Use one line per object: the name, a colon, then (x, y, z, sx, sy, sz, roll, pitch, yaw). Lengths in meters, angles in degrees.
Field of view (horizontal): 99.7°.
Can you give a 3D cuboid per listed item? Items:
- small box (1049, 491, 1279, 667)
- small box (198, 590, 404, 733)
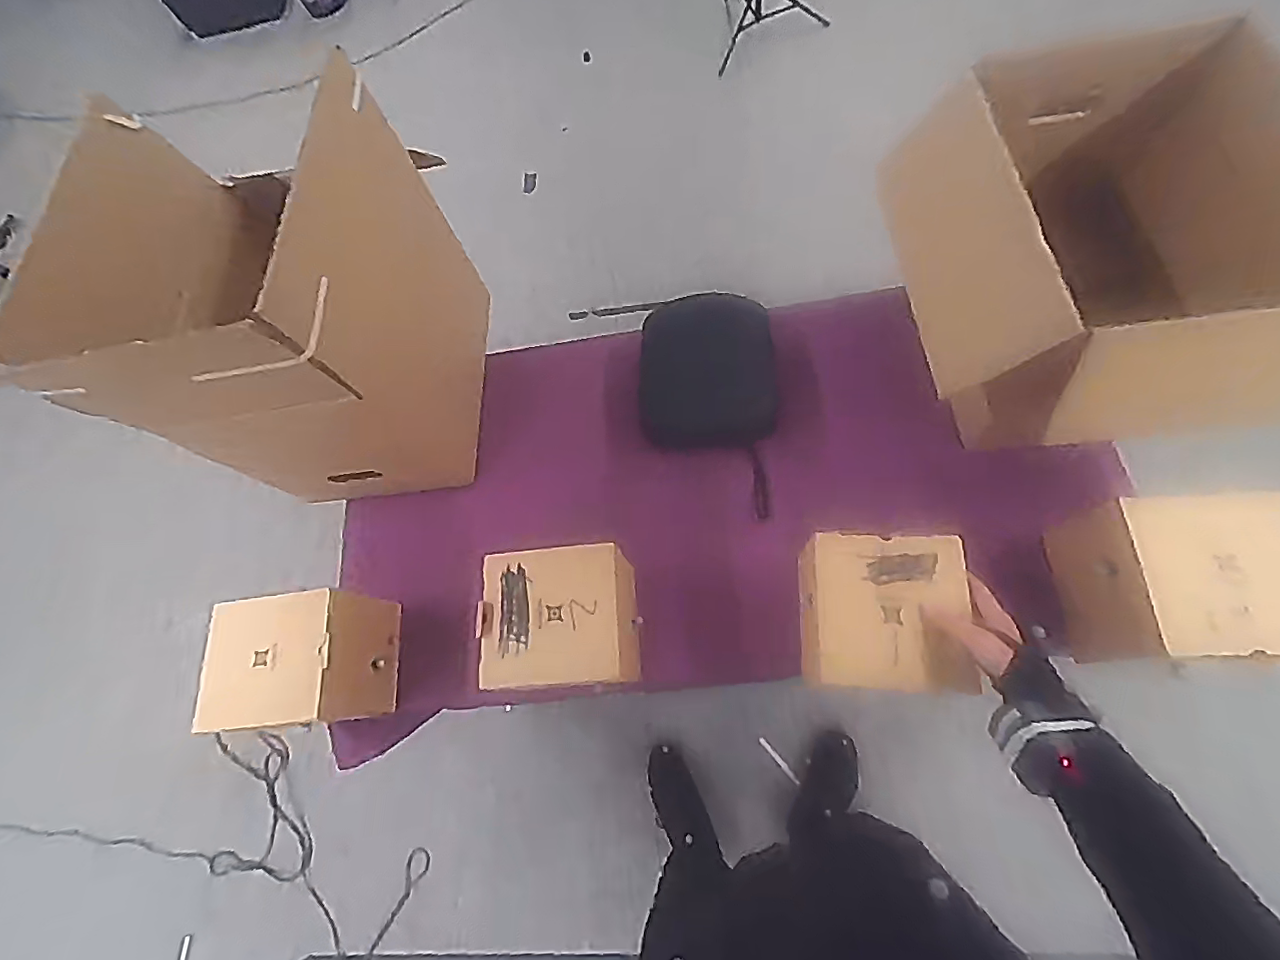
small box: (0.632, 0.124, 0.642, 0.168, 0.176, 0.179, -3, 69, 10)
small box: (-0.471, 0.264, 0.778, 0.179, 0.176, 0.168, -9, 68, 5)
